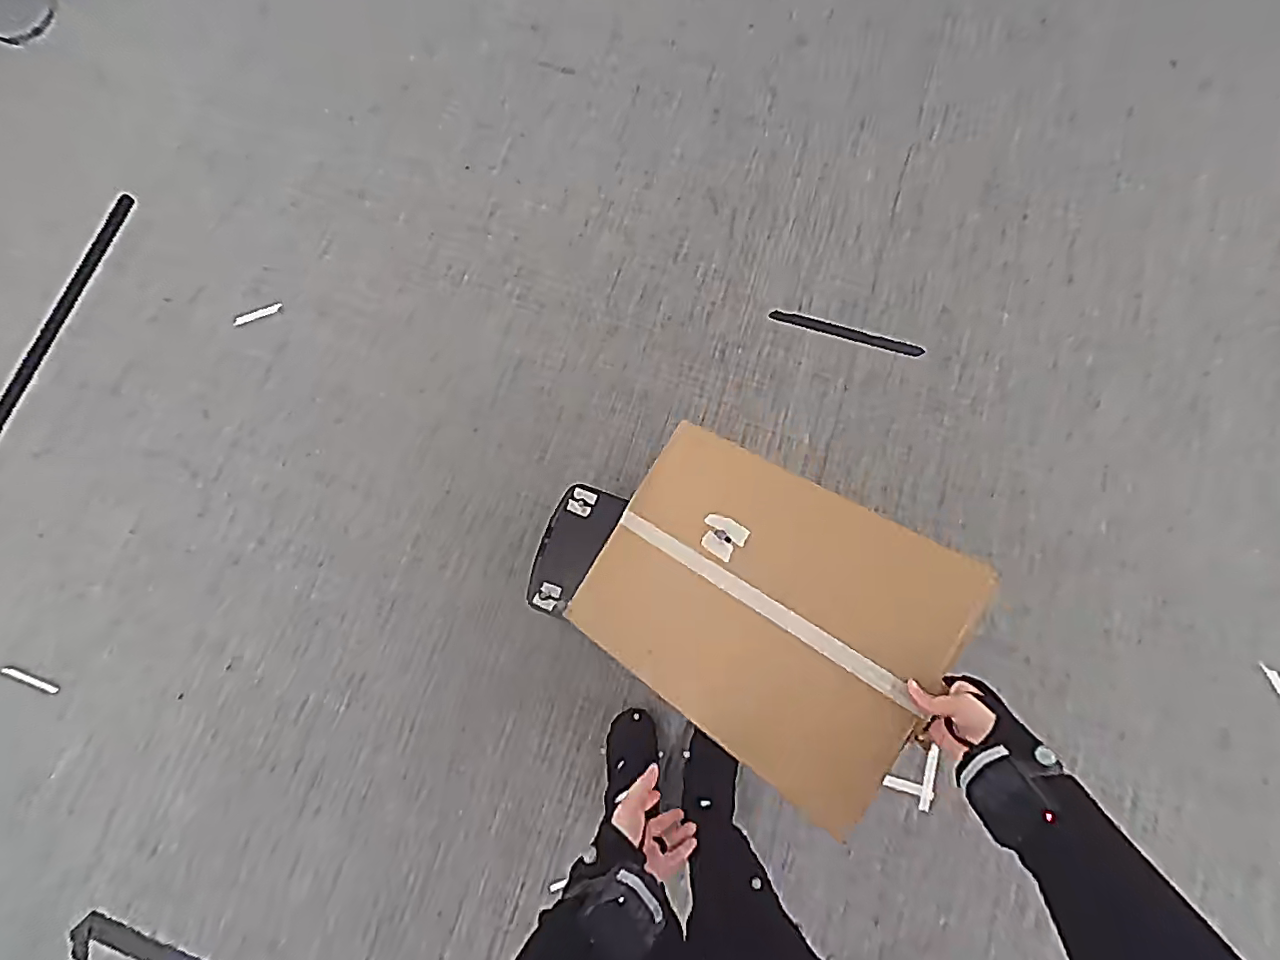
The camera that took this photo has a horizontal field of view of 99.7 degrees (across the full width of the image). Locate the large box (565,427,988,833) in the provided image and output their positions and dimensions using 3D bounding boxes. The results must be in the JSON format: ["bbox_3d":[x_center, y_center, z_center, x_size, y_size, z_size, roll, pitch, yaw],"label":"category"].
[{"bbox_3d":[0.186,0.182,0.759,0.408,0.320,0.320,29,85,29],"label":"large box"}]
